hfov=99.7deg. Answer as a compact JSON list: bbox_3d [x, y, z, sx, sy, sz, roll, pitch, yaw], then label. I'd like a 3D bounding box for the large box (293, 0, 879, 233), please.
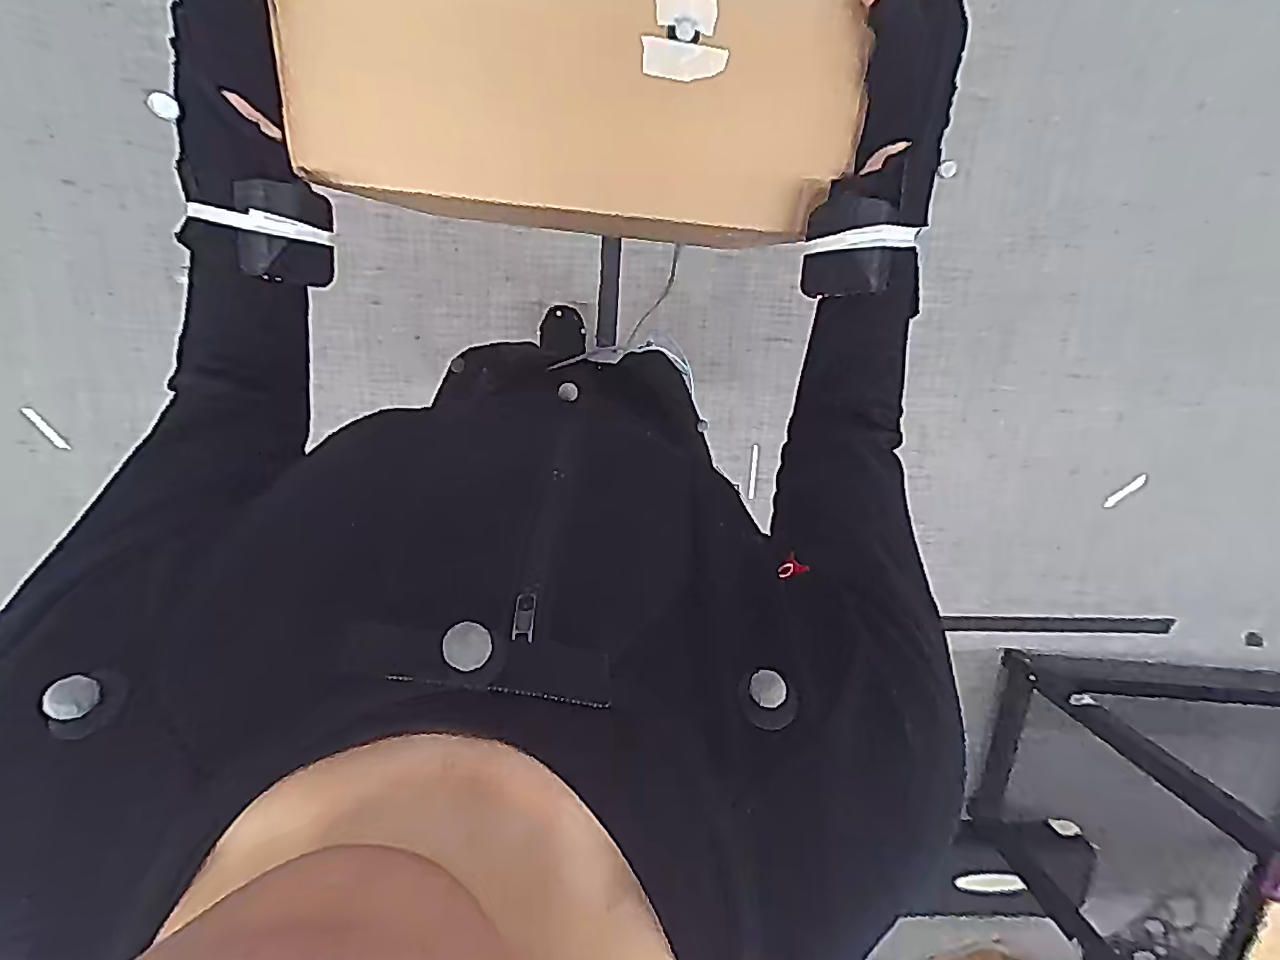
[{"bbox_3d":[-0.040,-0.415,0.492,0.408,0.320,0.320,3,113,-6],"label":"large box"}]
